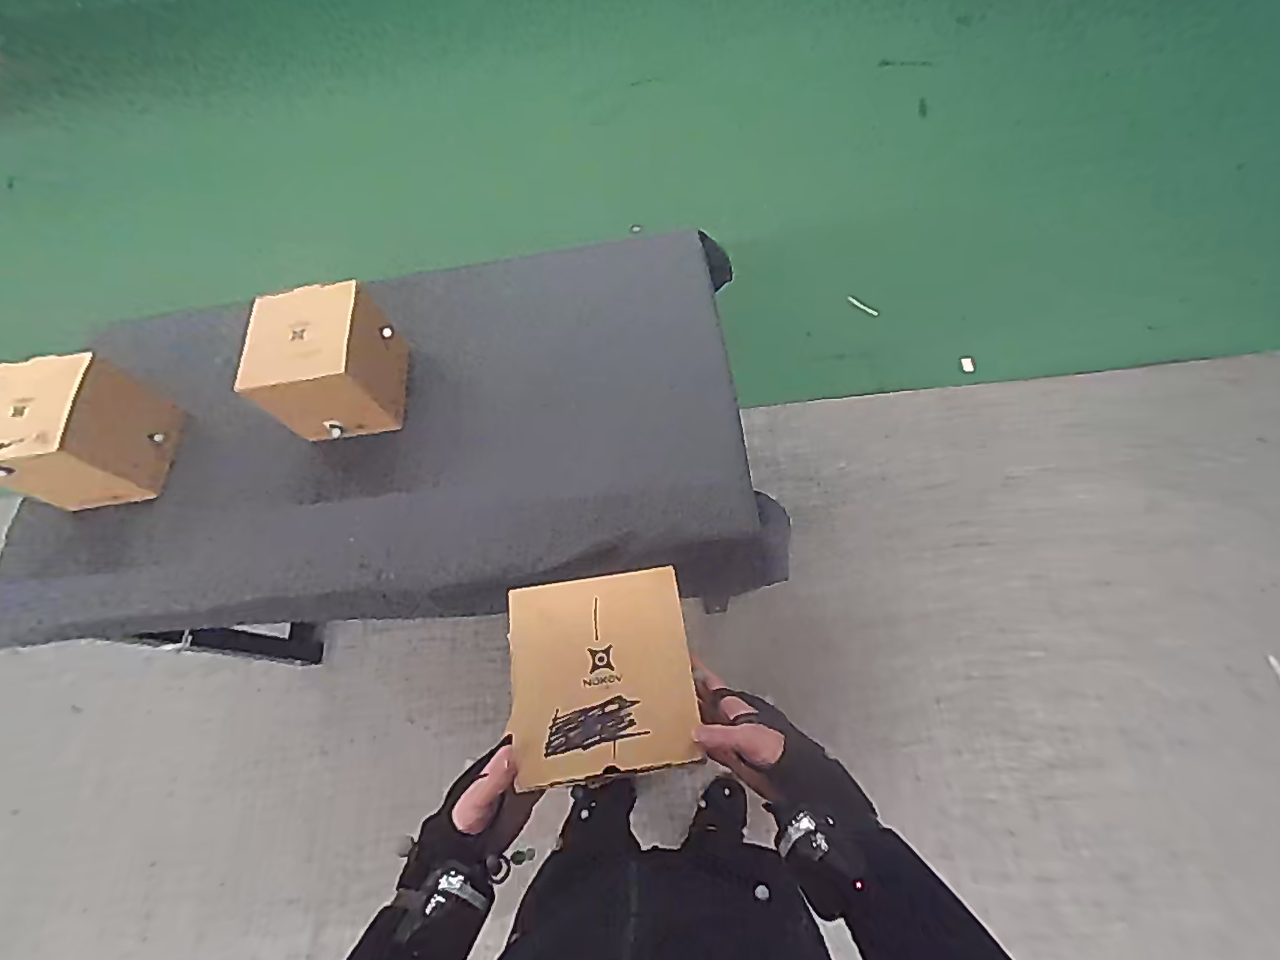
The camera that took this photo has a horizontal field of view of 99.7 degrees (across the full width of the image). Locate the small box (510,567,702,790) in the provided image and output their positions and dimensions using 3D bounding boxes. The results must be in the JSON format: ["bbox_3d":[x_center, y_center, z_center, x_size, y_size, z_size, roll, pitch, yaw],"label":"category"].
[{"bbox_3d":[-0.032,0.208,0.561,0.168,0.176,0.179,-8,62,-2],"label":"small box"}]

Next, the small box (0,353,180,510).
[{"bbox_3d":[-0.885,-0.071,0.852,0.168,0.176,0.179,-8,65,2],"label":"small box"}]

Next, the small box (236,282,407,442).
[{"bbox_3d":[-0.492,-0.182,0.866,0.168,0.176,0.179,-9,67,3],"label":"small box"}]
